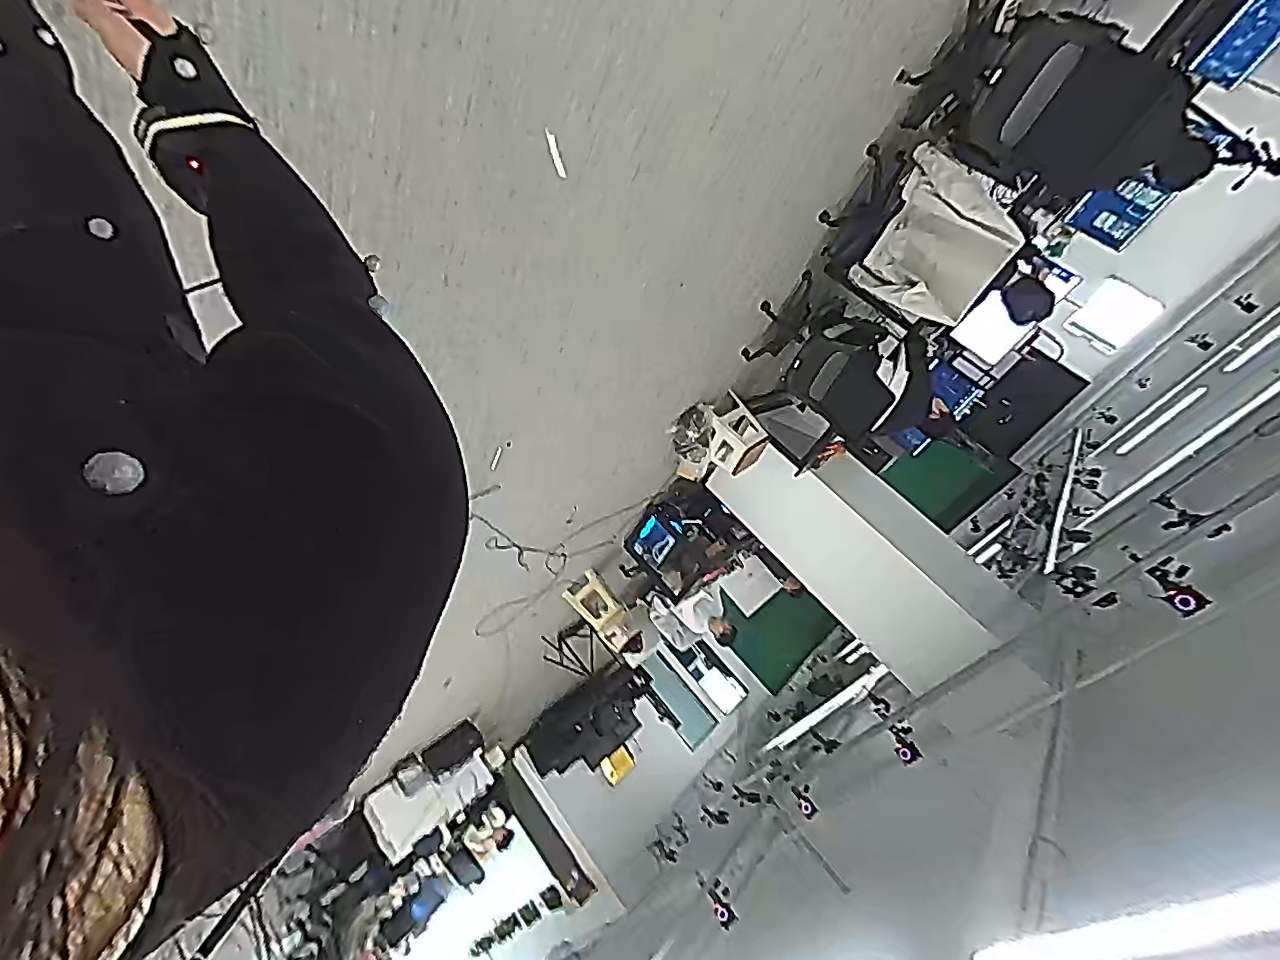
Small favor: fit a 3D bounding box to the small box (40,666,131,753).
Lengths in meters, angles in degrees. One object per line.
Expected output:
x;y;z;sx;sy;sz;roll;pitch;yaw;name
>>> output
-1.813;0.746;1.772;0.168;0.176;0.179;-22;150;-47;small box
